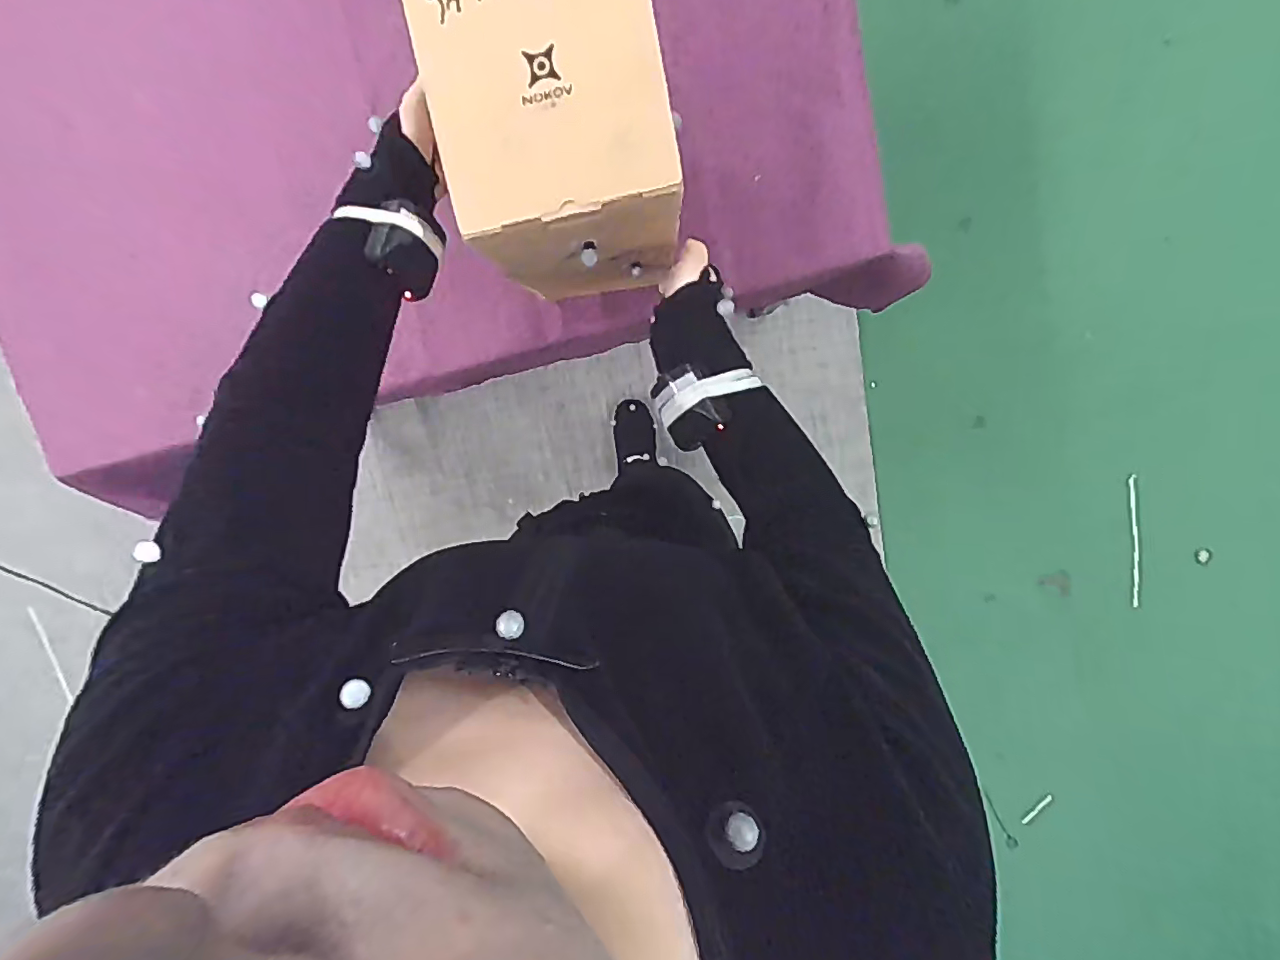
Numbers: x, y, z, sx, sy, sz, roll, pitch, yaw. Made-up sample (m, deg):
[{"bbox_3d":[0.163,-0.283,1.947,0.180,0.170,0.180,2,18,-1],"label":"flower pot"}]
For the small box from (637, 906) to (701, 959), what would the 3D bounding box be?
[{"bbox_3d":[0.094,1.458,1.659,0.179,0.176,0.168,-9,100,4],"label":"small box"}]

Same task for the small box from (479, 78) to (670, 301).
[{"bbox_3d":[-0.060,-0.310,0.615,0.179,0.176,0.168,-7,99,4],"label":"small box"}]
